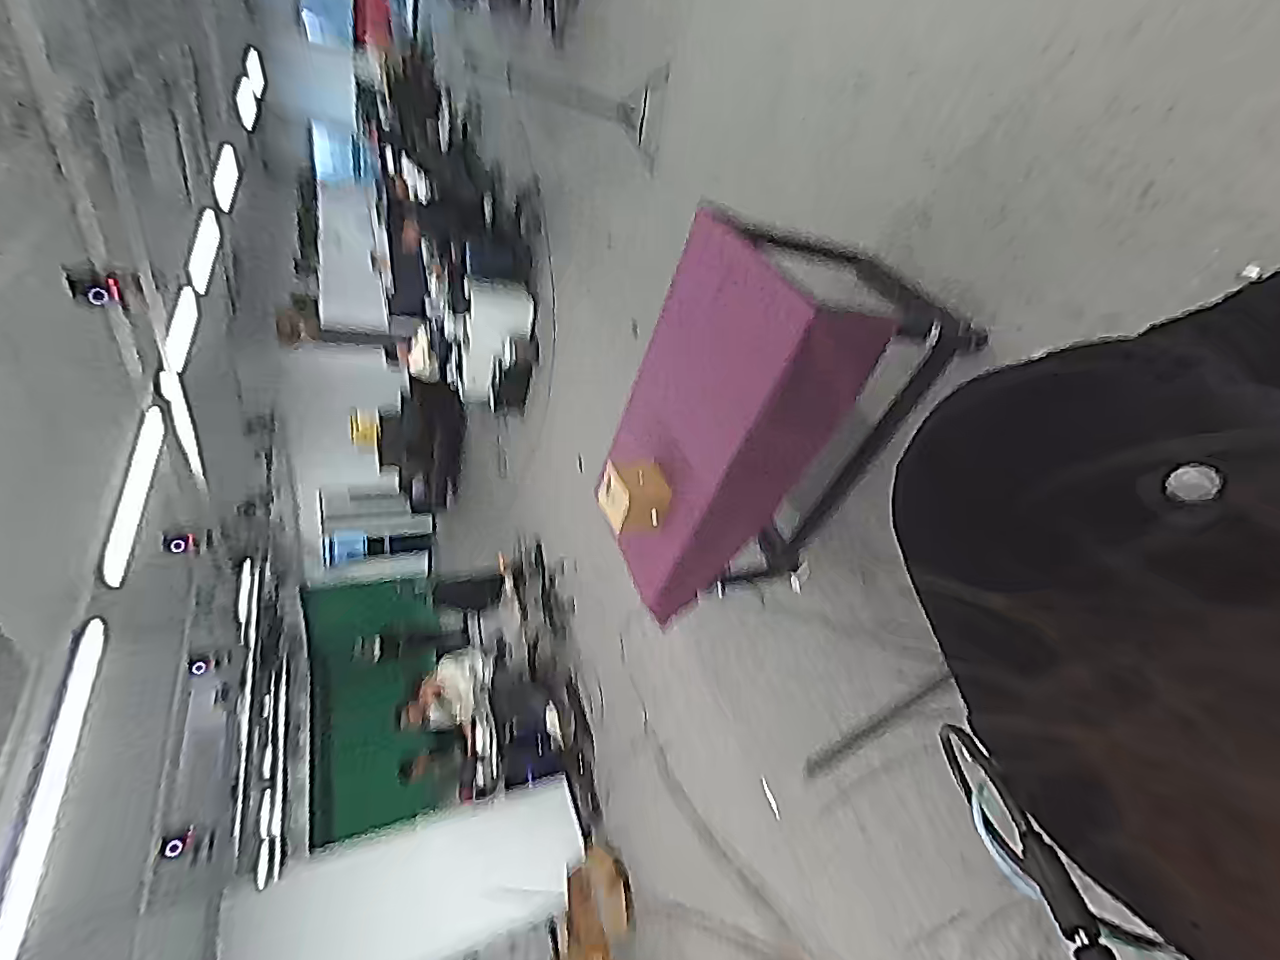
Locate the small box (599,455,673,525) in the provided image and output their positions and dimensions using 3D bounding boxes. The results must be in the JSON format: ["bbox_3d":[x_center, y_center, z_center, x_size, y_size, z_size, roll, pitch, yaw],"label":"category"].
[{"bbox_3d":[-0.015,0.031,1.819,0.179,0.176,0.168,58,140,40],"label":"small box"}]
